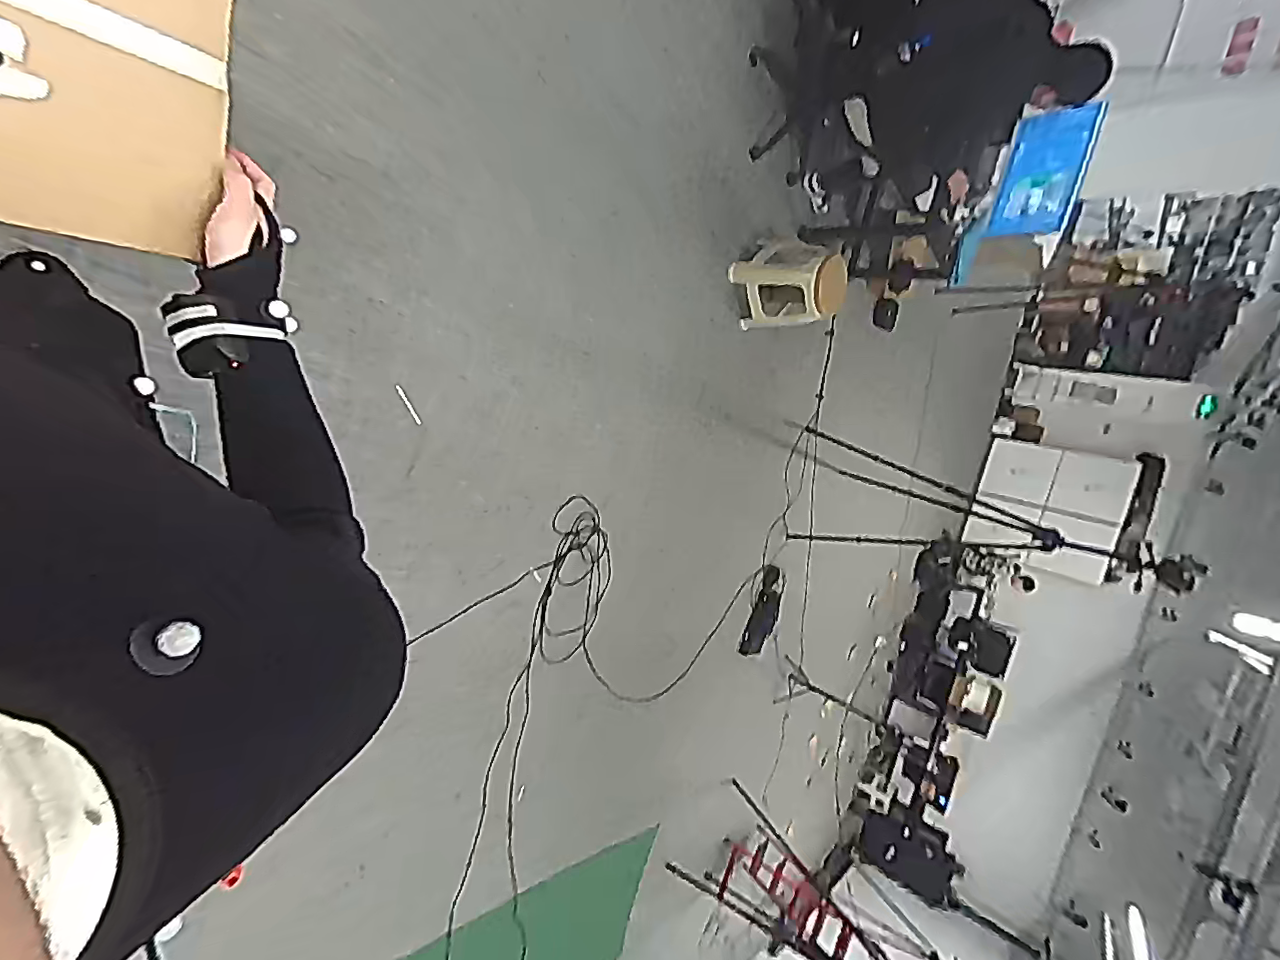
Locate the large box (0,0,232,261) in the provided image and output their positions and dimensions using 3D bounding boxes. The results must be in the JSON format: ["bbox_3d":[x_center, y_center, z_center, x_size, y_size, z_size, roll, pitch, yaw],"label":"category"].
[{"bbox_3d":[-0.588,-0.392,0.386,0.408,0.320,0.320,-7,124,-53],"label":"large box"}]
